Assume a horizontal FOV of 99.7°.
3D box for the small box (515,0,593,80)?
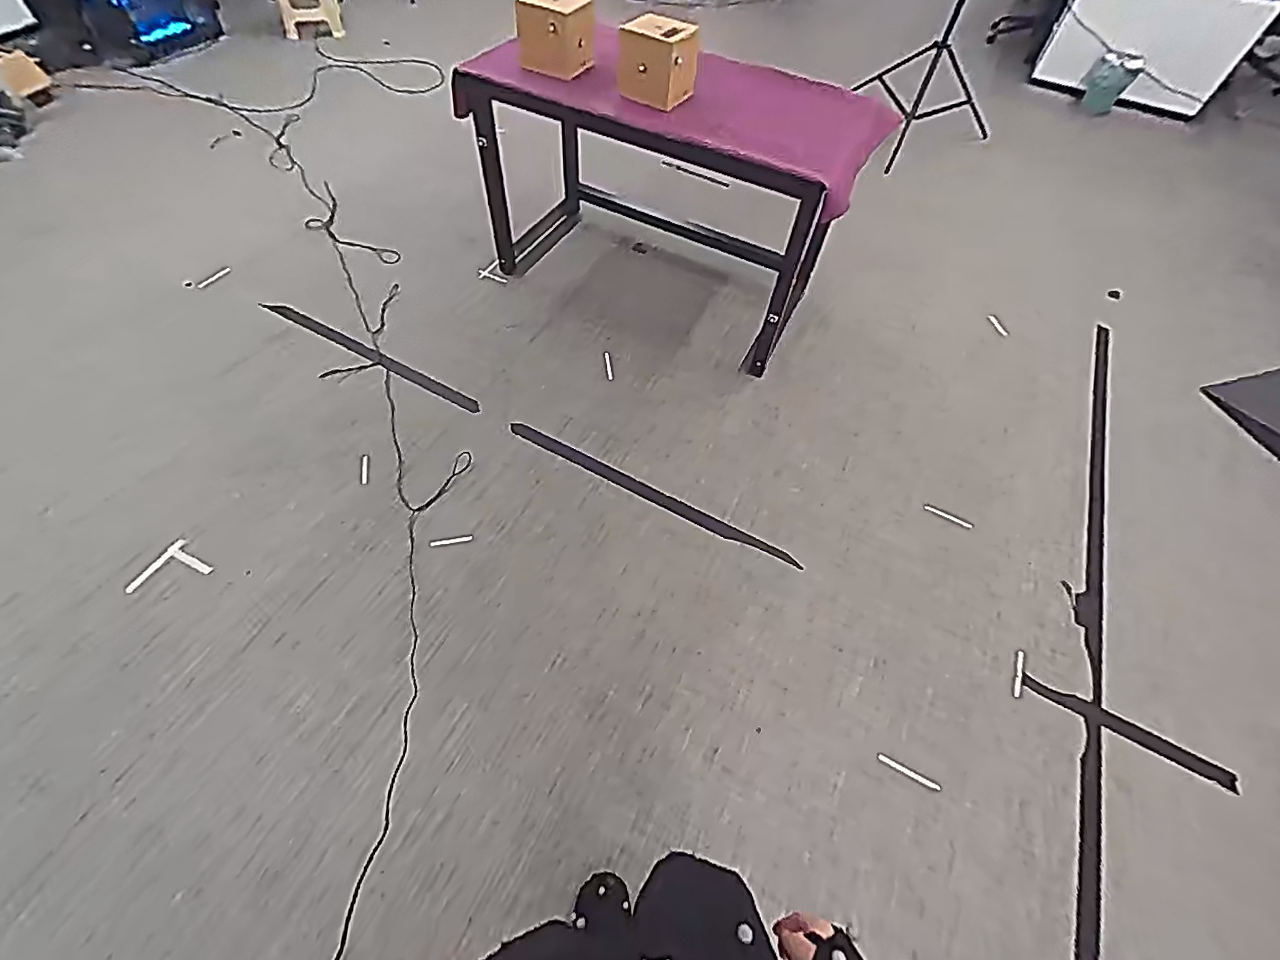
[{"bbox_3d":[-0.256,-1.357,1.651,0.179,0.176,0.168,23,56,11],"label":"small box"}]
